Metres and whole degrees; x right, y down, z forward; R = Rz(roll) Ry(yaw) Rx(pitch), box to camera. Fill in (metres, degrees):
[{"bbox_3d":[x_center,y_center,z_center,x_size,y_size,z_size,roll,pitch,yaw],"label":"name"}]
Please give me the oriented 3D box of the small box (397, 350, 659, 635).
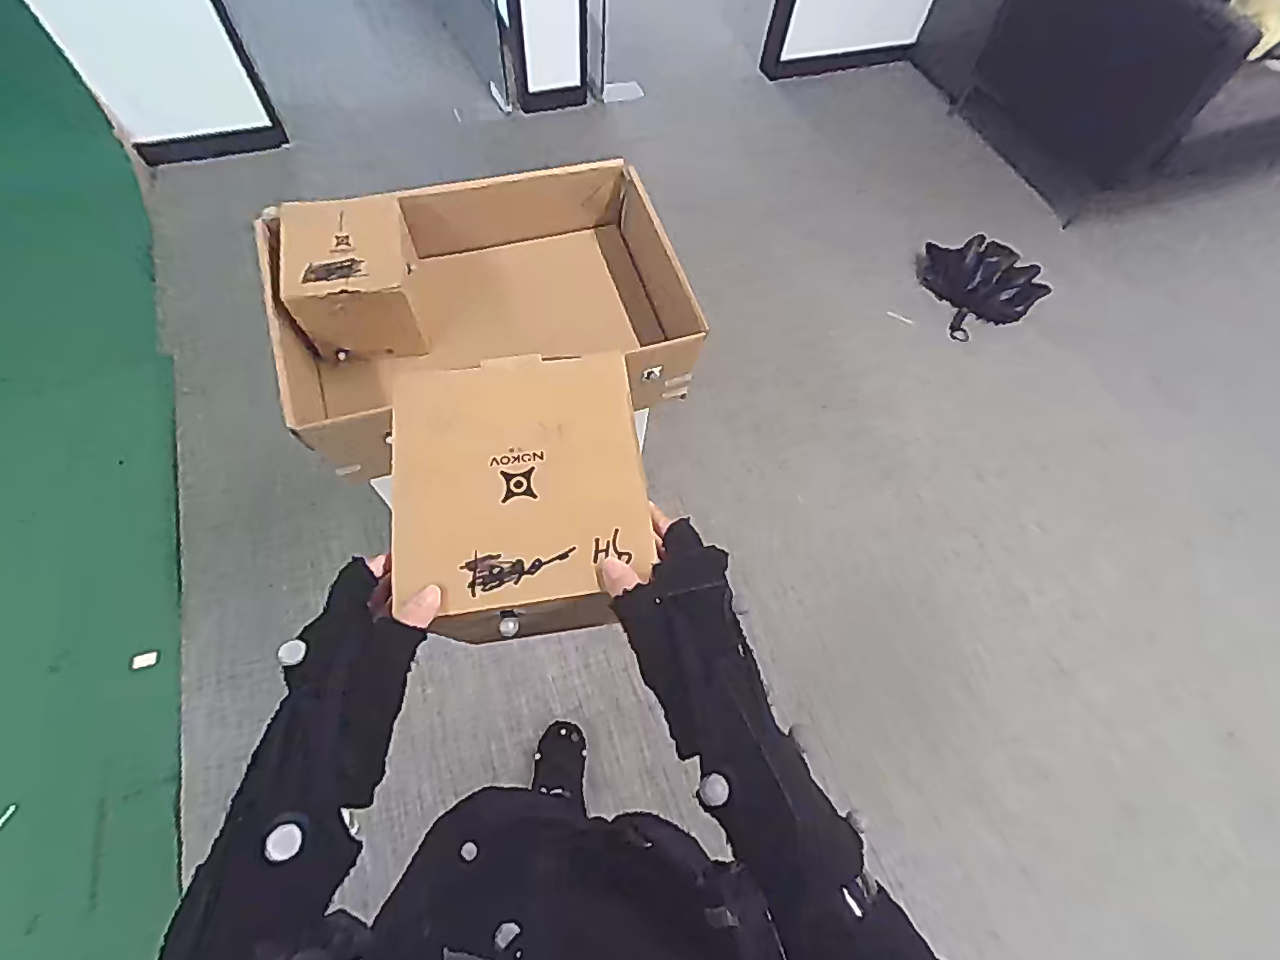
[{"bbox_3d":[-0.081,0.021,0.441,0.168,0.176,0.179,-7,69,-3],"label":"small box"}]
